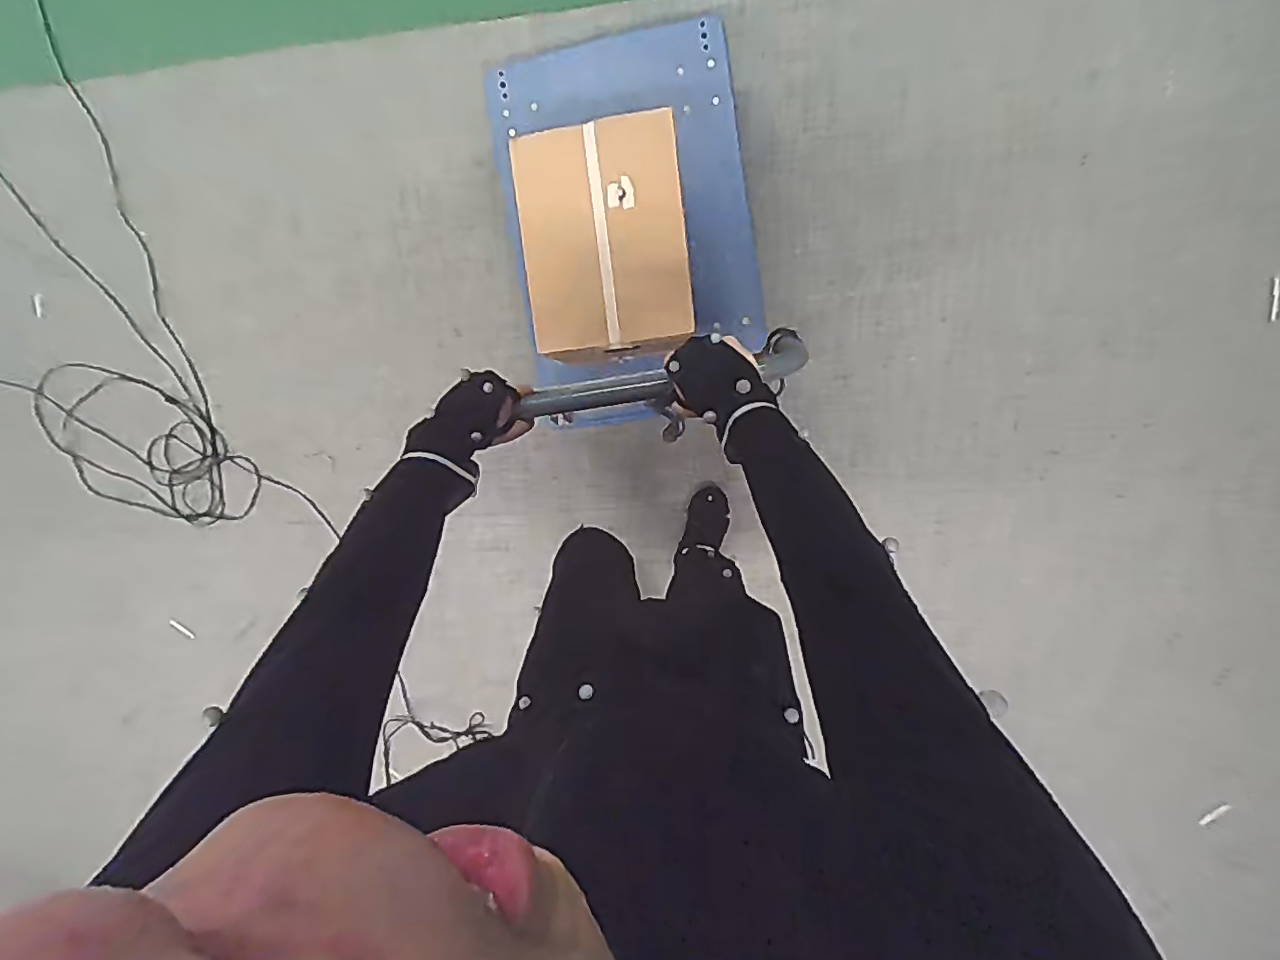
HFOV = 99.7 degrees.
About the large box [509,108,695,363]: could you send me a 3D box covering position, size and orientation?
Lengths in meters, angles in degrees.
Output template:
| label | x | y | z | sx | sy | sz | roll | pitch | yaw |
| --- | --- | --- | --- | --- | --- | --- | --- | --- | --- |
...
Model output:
| label | x | y | z | sx | sy | sz | roll | pitch | yaw |
| --- | --- | --- | --- | --- | --- | --- | --- | --- | --- |
| large box | -0.057 | -0.486 | 1.171 | 0.320 | 0.320 | 0.408 | -5 | 97 | 7 |
